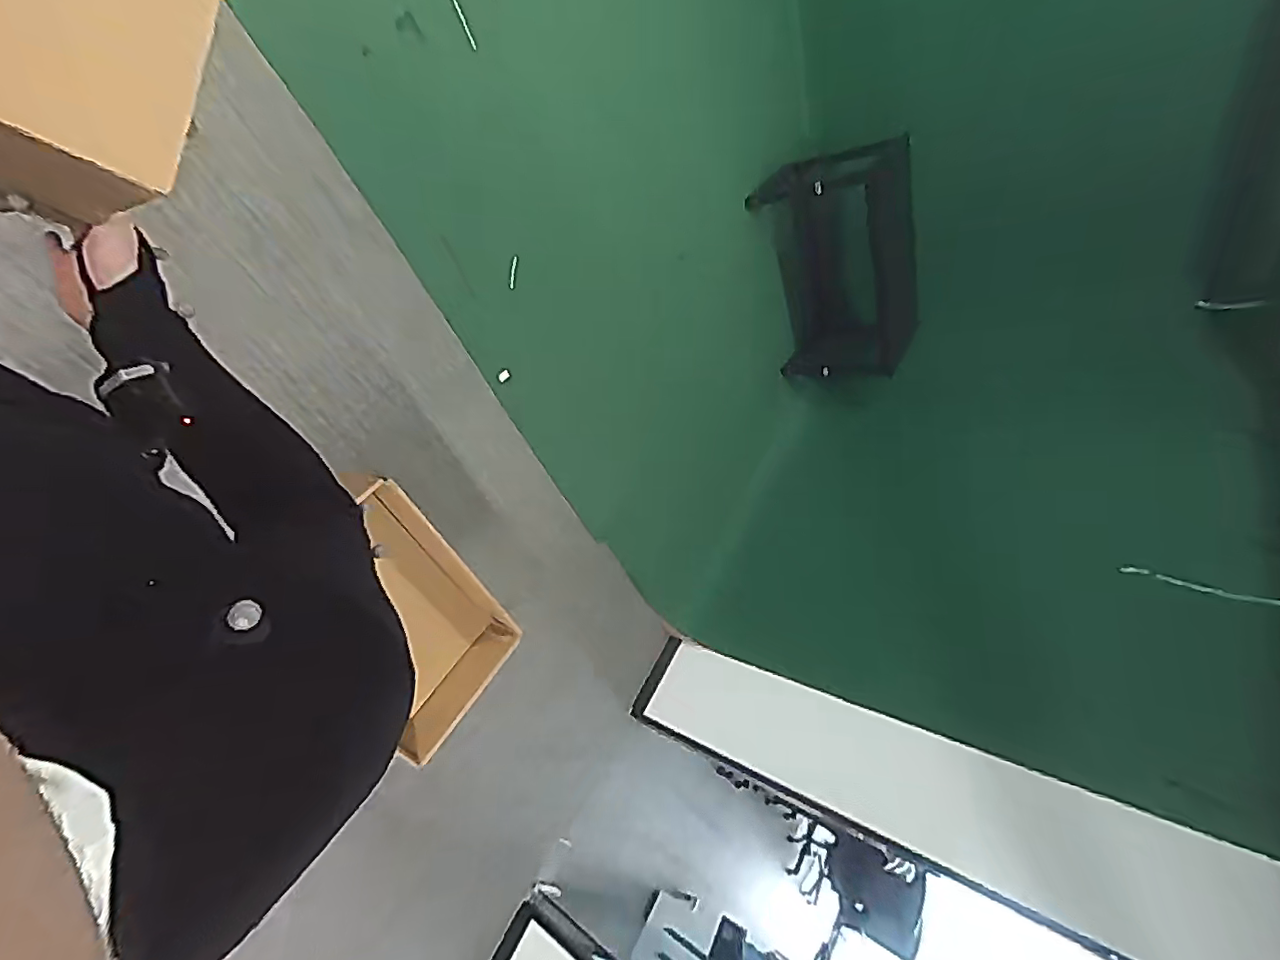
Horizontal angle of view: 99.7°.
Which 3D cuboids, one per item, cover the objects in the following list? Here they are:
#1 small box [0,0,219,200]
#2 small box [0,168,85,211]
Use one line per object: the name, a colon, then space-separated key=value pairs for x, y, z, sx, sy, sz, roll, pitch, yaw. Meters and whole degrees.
small box: x=-0.350 y=-0.266 z=0.273 sx=0.179 sy=0.176 sz=0.168 roll=13 pitch=94 yaw=-54
small box: x=-0.597 y=-0.356 z=0.467 sx=0.179 sy=0.176 sz=0.168 roll=15 pitch=91 yaw=-53
